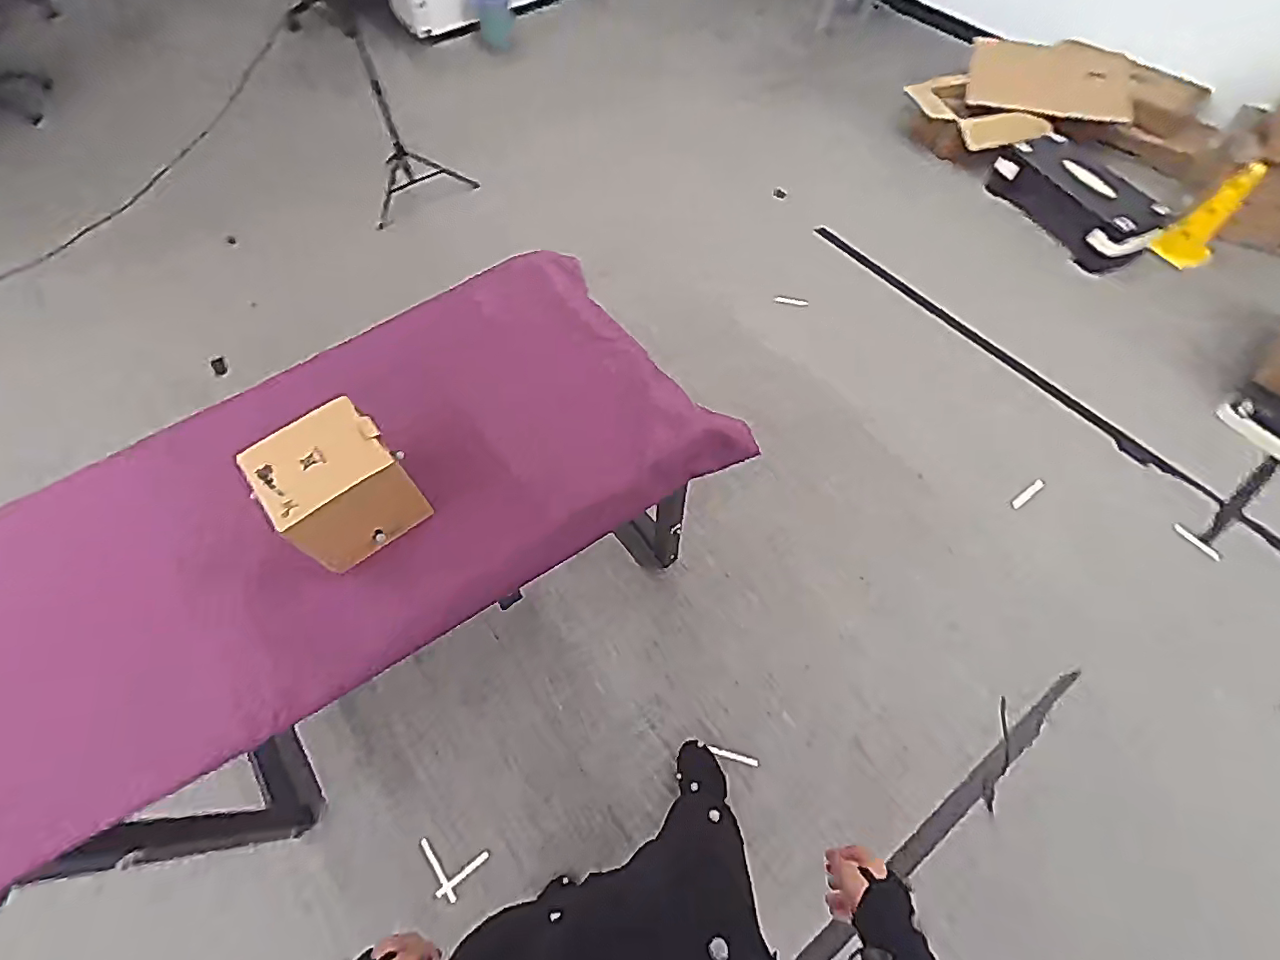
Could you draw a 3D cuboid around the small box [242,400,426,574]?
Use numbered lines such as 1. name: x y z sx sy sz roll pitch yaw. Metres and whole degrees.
1. small box: -0.464 0.015 0.852 0.179 0.176 0.168 -36 65 -19
